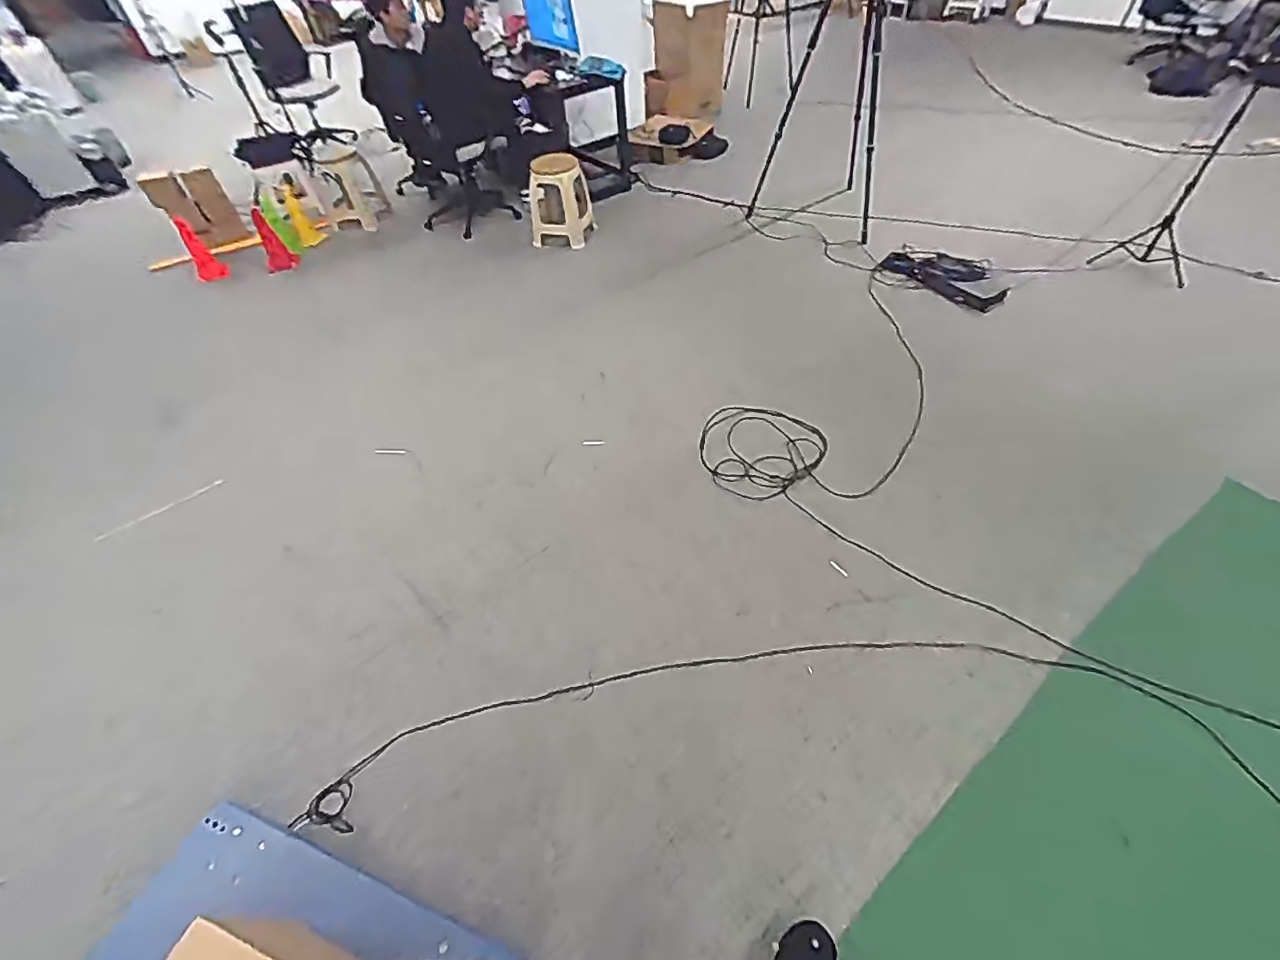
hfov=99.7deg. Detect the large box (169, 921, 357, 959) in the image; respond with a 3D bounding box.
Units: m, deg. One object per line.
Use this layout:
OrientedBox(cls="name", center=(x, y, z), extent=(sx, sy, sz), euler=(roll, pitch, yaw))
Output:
OrientedBox(cls="large box", center=(-0.601, 0.989, 0.881), extent=(0.408, 0.320, 0.320), euler=(13, 50, 16))
